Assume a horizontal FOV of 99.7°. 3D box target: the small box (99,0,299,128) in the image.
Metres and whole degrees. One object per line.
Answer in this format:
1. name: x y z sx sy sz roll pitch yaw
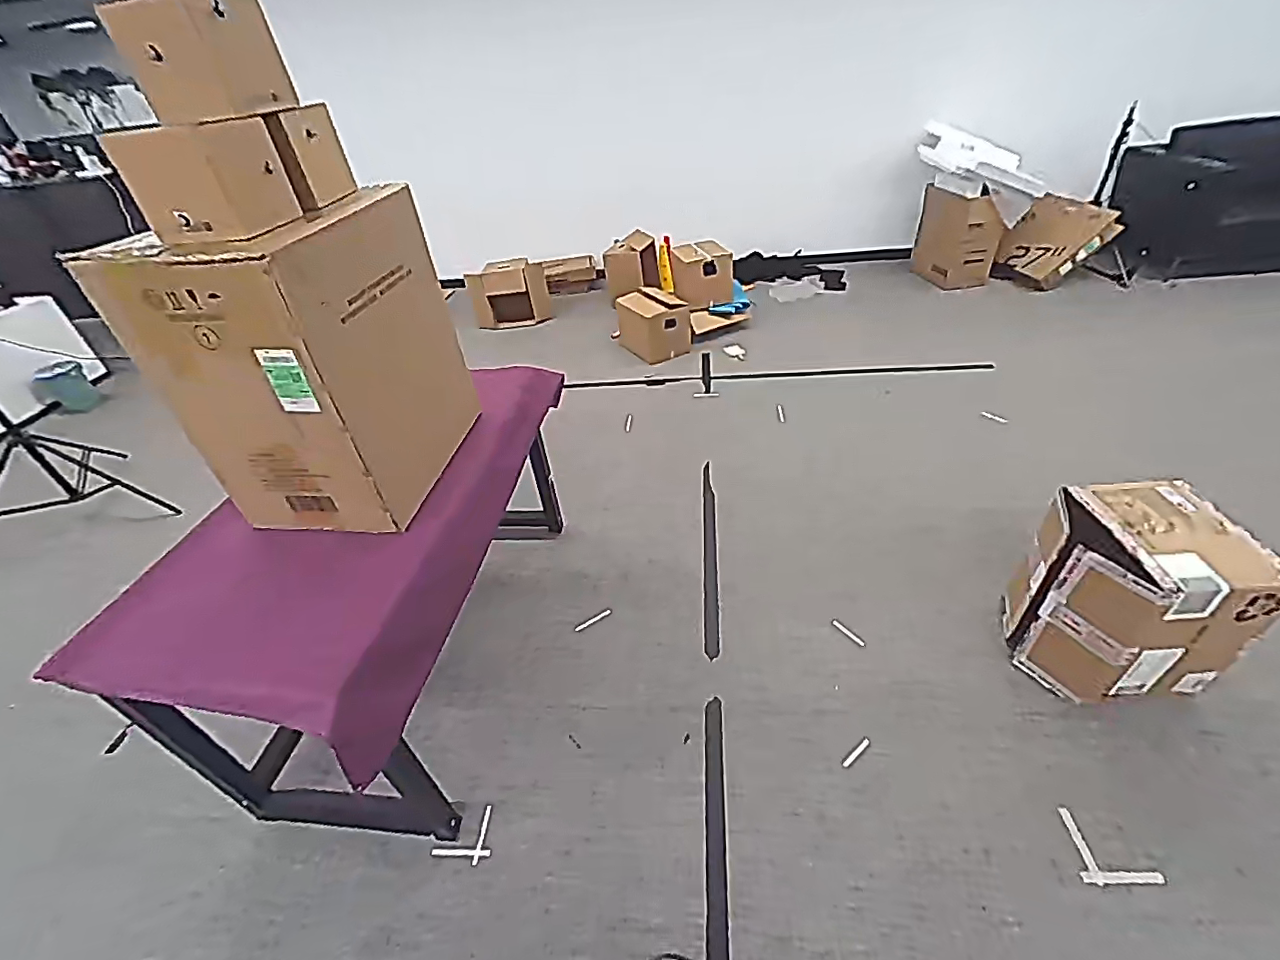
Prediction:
1. small box: -0.760 -0.731 0.954 0.179 0.176 0.168 3 41 14

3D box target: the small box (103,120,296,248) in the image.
1. small box: -0.748 -0.519 0.949 0.168 0.176 0.179 -3 38 6

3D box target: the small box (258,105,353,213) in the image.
1. small box: -0.734 -0.660 1.122 0.168 0.176 0.179 -2 39 6
